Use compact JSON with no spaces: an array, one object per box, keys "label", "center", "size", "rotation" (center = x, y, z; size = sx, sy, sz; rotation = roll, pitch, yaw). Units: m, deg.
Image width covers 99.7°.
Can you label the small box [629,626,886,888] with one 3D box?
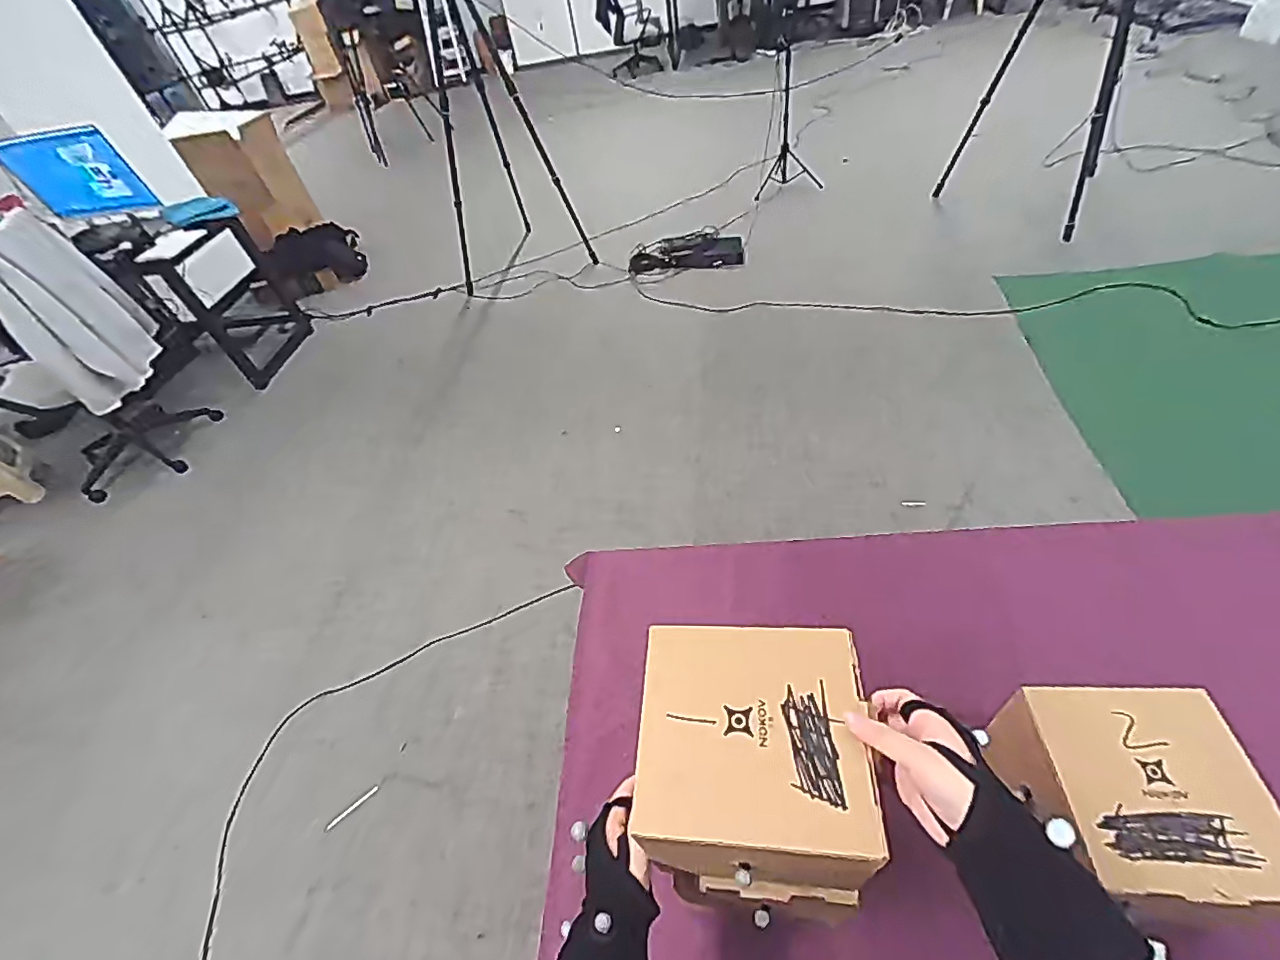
[{"label":"small box","center":[0.098,0.246,0.480],"size":[0.179,0.176,0.168],"rotation":[-1,48,11]}]

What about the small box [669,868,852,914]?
[{"label":"small box","center":[0.127,0.360,0.597],"size":[0.168,0.176,0.179],"rotation":[-1,49,10]}]
